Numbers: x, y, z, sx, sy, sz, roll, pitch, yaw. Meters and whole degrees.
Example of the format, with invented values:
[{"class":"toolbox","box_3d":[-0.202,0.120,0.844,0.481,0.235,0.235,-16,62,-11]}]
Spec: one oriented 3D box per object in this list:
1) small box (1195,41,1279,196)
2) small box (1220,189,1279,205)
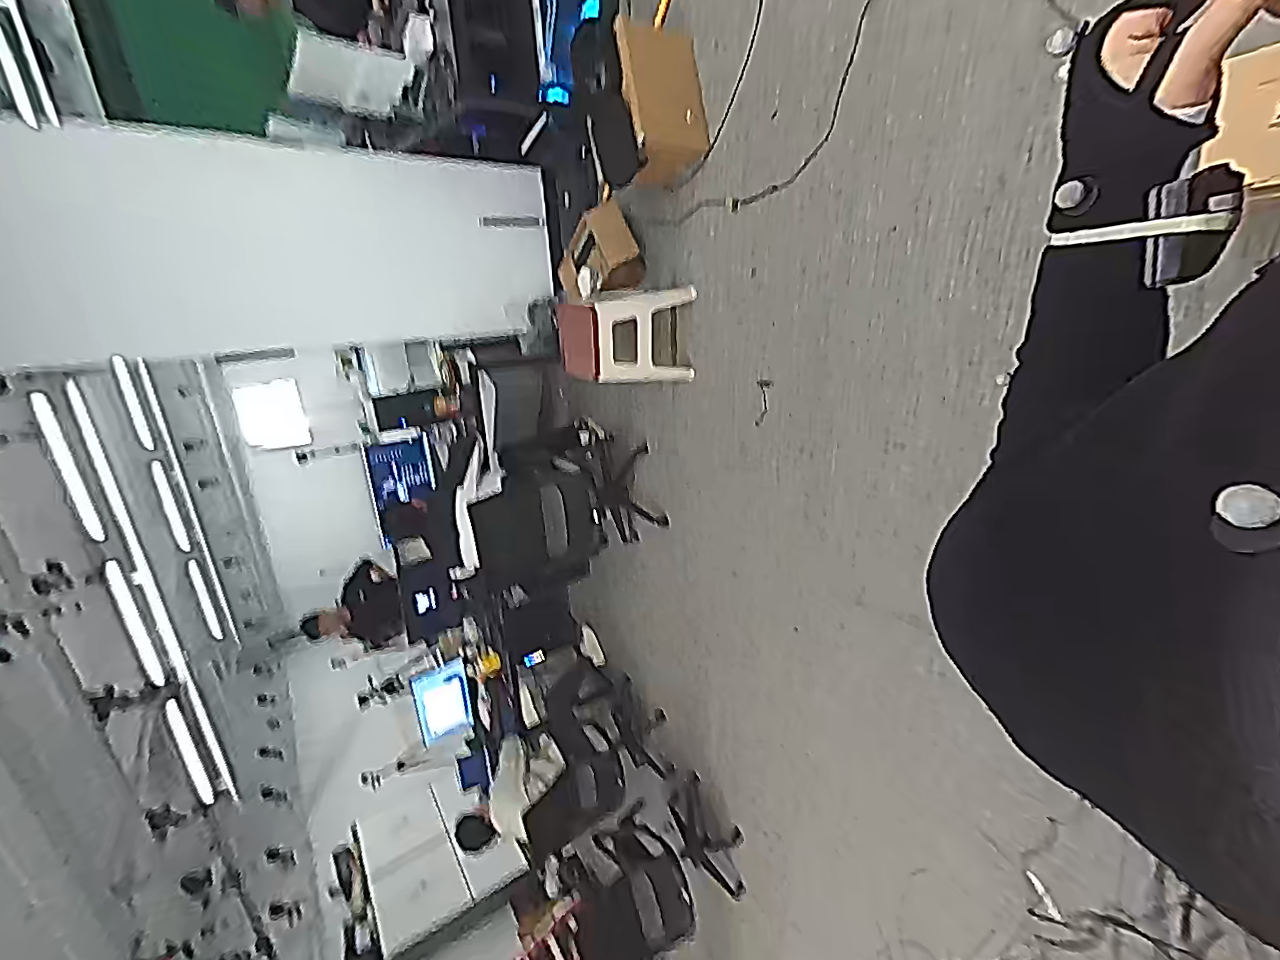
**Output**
[{"class":"small box","box_3d":[0.941,-0.518,0.770,0.168,0.176,0.179,15,114,53]},{"class":"small box","box_3d":[1.075,-0.547,0.856,0.168,0.176,0.179,21,121,52]}]
